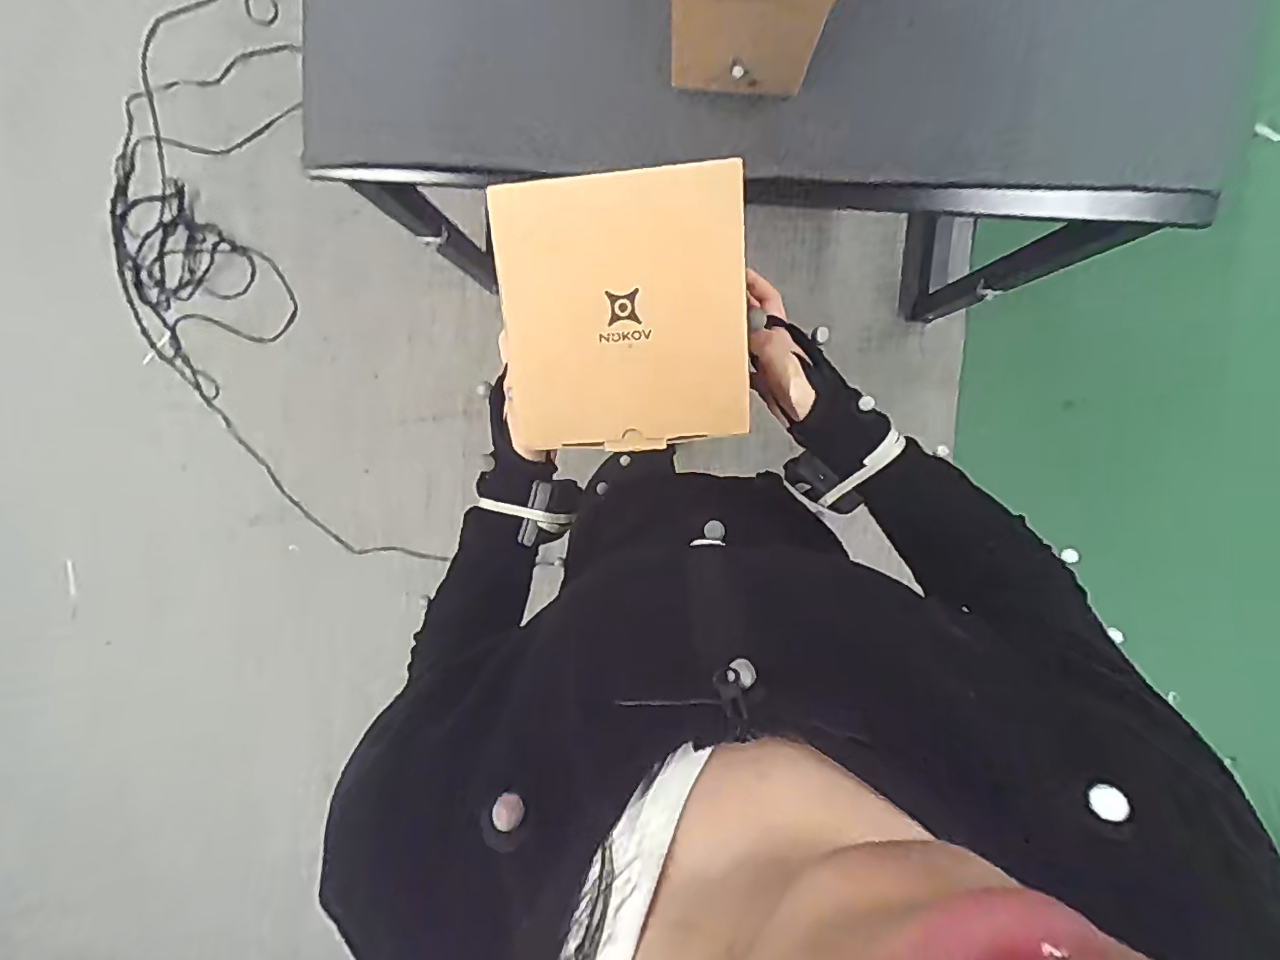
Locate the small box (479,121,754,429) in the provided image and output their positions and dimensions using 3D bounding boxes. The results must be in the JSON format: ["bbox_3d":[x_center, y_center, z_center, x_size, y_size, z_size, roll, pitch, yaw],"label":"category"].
[{"bbox_3d":[-0.008,-0.140,0.419,0.168,0.176,0.179,-4,103,5],"label":"small box"}]

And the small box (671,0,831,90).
[{"bbox_3d":[0.125,-0.586,0.605,0.168,0.176,0.179,6,95,2],"label":"small box"}]
